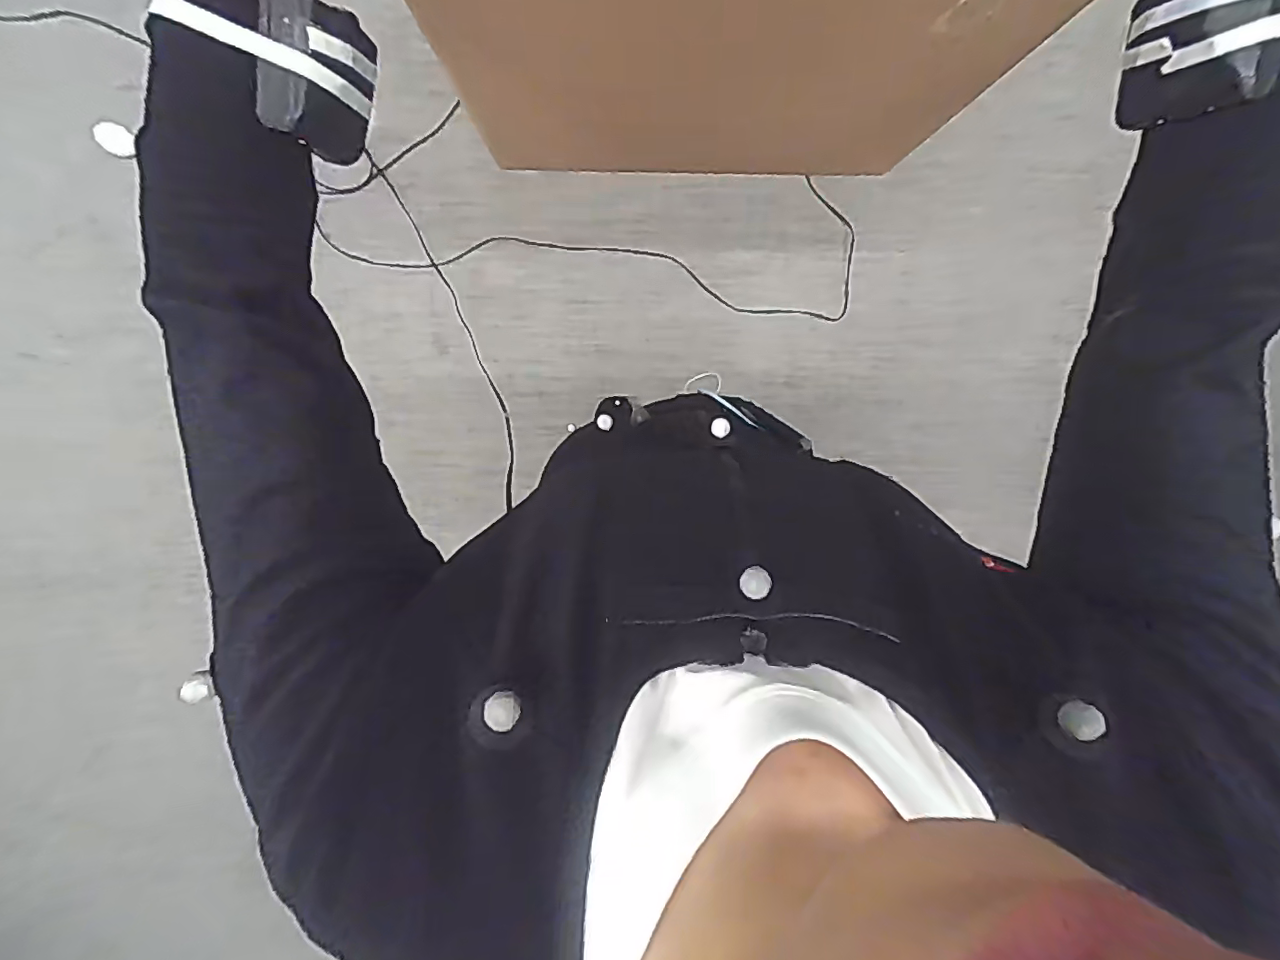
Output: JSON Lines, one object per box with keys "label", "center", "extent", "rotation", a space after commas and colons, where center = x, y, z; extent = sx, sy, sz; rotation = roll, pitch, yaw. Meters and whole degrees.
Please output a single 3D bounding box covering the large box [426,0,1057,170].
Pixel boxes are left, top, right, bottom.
{"label": "large box", "center": [0.058, -0.452, 0.391], "extent": [0.408, 0.320, 0.320], "rotation": [-1, 99, -2]}
